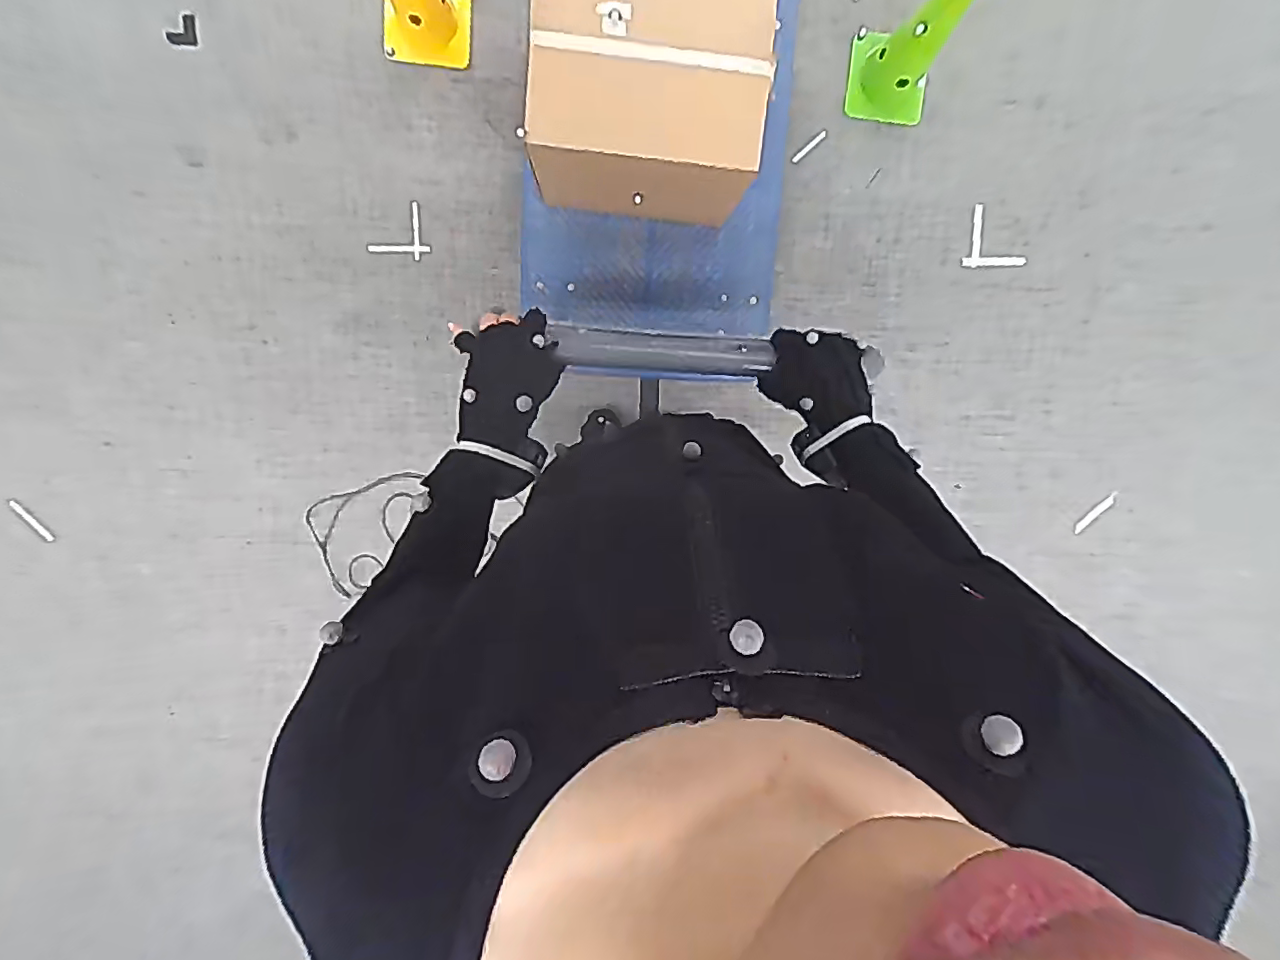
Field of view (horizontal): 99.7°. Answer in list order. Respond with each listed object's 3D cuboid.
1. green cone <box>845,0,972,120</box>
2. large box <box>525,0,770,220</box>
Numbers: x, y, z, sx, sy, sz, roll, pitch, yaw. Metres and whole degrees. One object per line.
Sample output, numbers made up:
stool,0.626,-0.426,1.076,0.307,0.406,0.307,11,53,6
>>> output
green cone,0.634,-1.001,1.195,0.202,0.368,0.200,4,98,-5
large box,0.007,-0.727,1.056,0.408,0.320,0.320,5,98,-3
